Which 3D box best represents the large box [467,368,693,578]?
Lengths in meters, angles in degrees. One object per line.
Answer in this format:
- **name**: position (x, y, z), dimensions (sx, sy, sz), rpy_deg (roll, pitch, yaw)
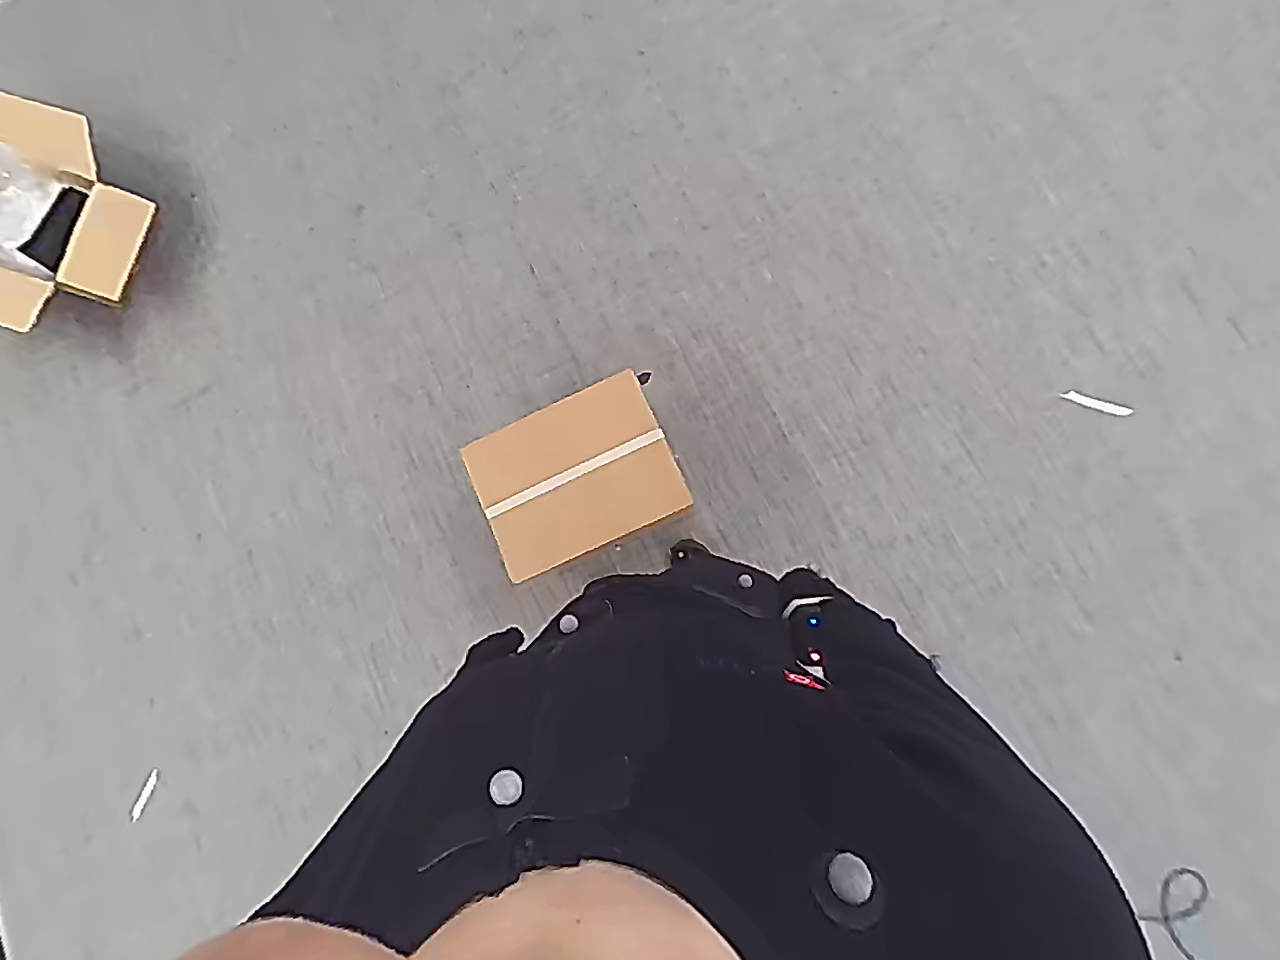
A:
- **large box**: position (-0.118, 0.001, 1.268), dimensions (0.408, 0.320, 0.320), rpy_deg (-25, 83, 3)
